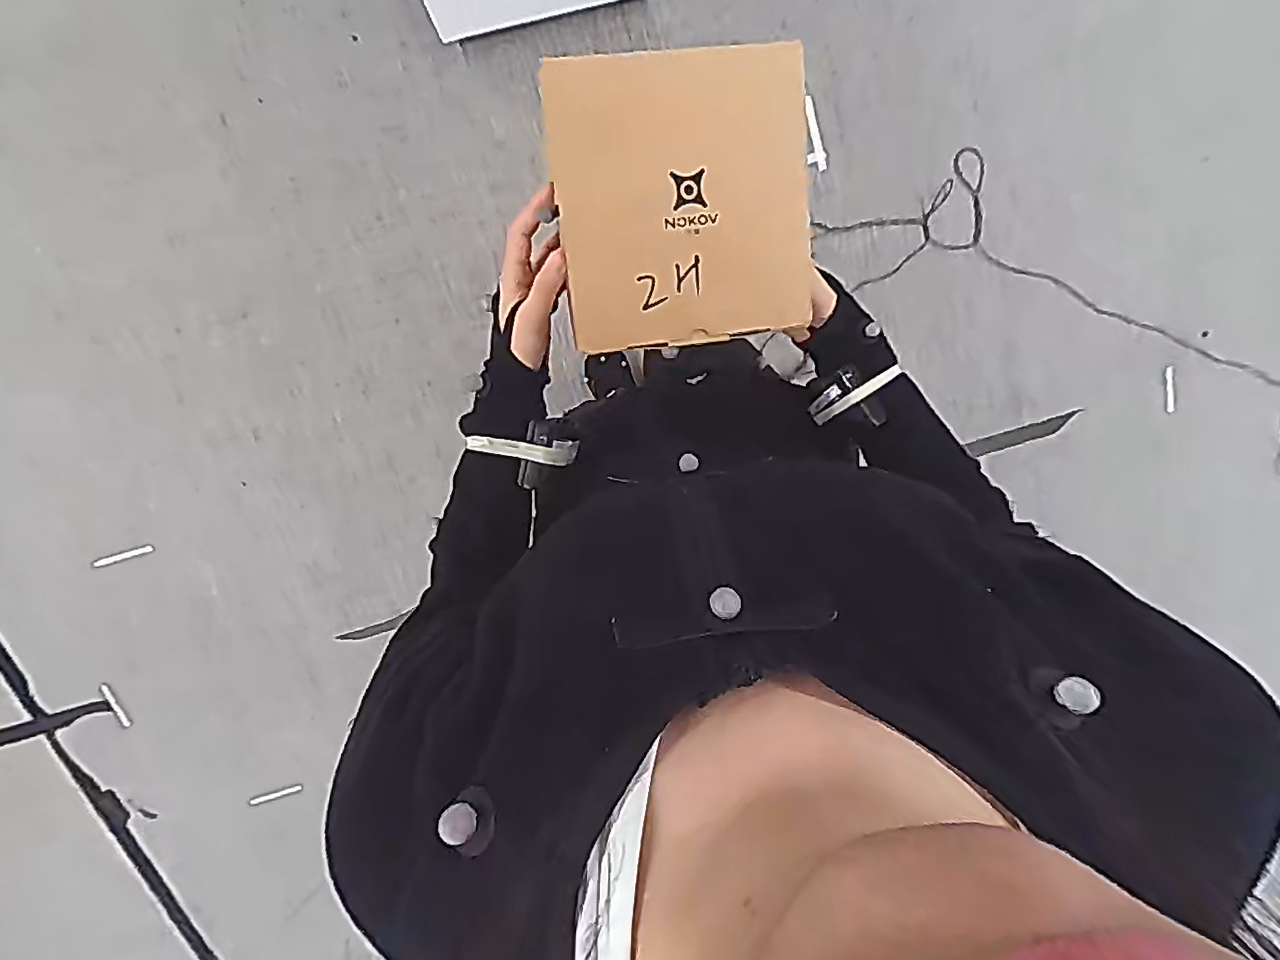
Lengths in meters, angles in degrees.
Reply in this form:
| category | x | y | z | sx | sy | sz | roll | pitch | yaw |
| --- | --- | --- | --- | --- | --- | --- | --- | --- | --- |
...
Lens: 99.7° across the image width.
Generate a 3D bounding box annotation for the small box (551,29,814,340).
| category | x | y | z | sx | sy | sz | roll | pitch | yaw |
| --- | --- | --- | --- | --- | --- | --- | --- | --- | --- |
| small box | 0.023 | -0.208 | 0.427 | 0.168 | 0.176 | 0.179 | -8 | 107 | -5 |
